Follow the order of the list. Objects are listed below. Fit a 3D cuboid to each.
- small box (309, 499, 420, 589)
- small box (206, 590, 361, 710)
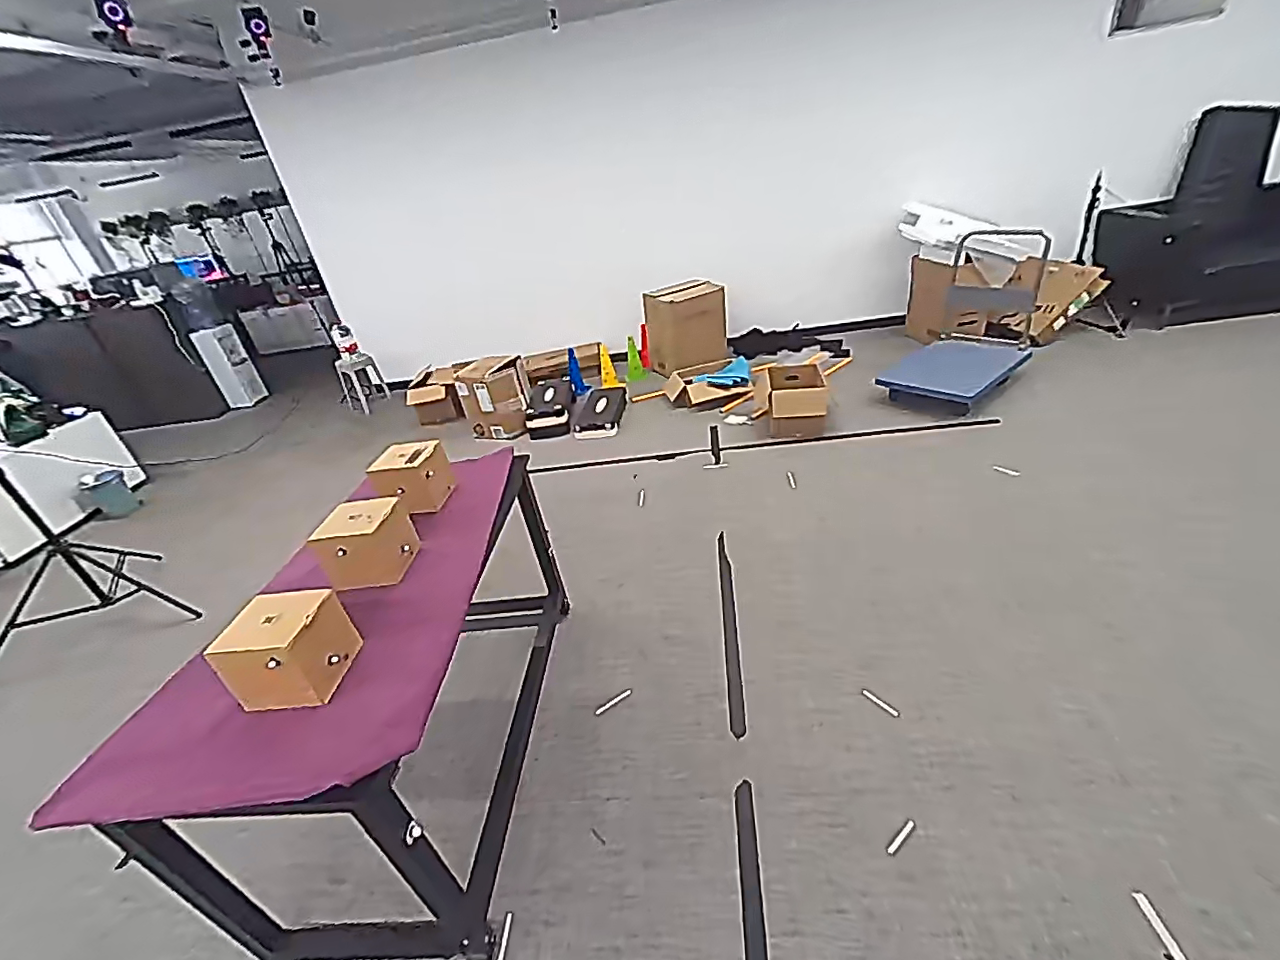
[{"bbox_3d":[-0.714,0.171,1.421,0.179,0.176,0.168,-6,31,6],"label":"small box"},{"bbox_3d":[-0.723,0.353,1.118,0.179,0.176,0.168,-6,30,5],"label":"small box"}]
